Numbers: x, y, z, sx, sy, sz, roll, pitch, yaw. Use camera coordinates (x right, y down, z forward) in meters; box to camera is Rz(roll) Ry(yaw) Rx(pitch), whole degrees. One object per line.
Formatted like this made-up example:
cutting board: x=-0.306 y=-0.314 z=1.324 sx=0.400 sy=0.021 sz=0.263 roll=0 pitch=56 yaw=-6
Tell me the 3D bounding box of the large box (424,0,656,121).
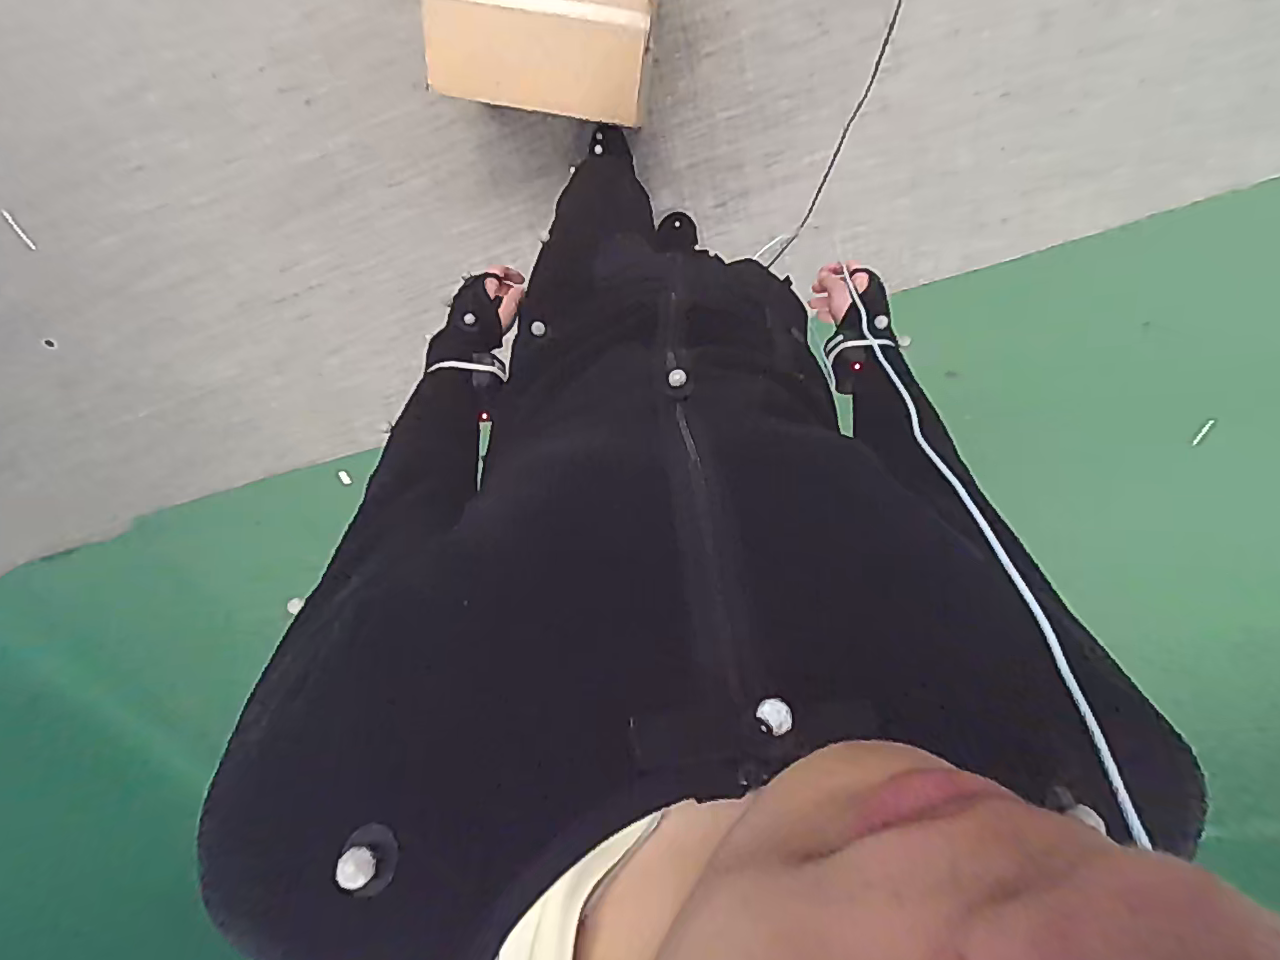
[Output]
large box: x=-0.177 y=-0.925 z=1.084 sx=0.408 sy=0.320 sz=0.320 roll=7 pitch=123 yaw=0
